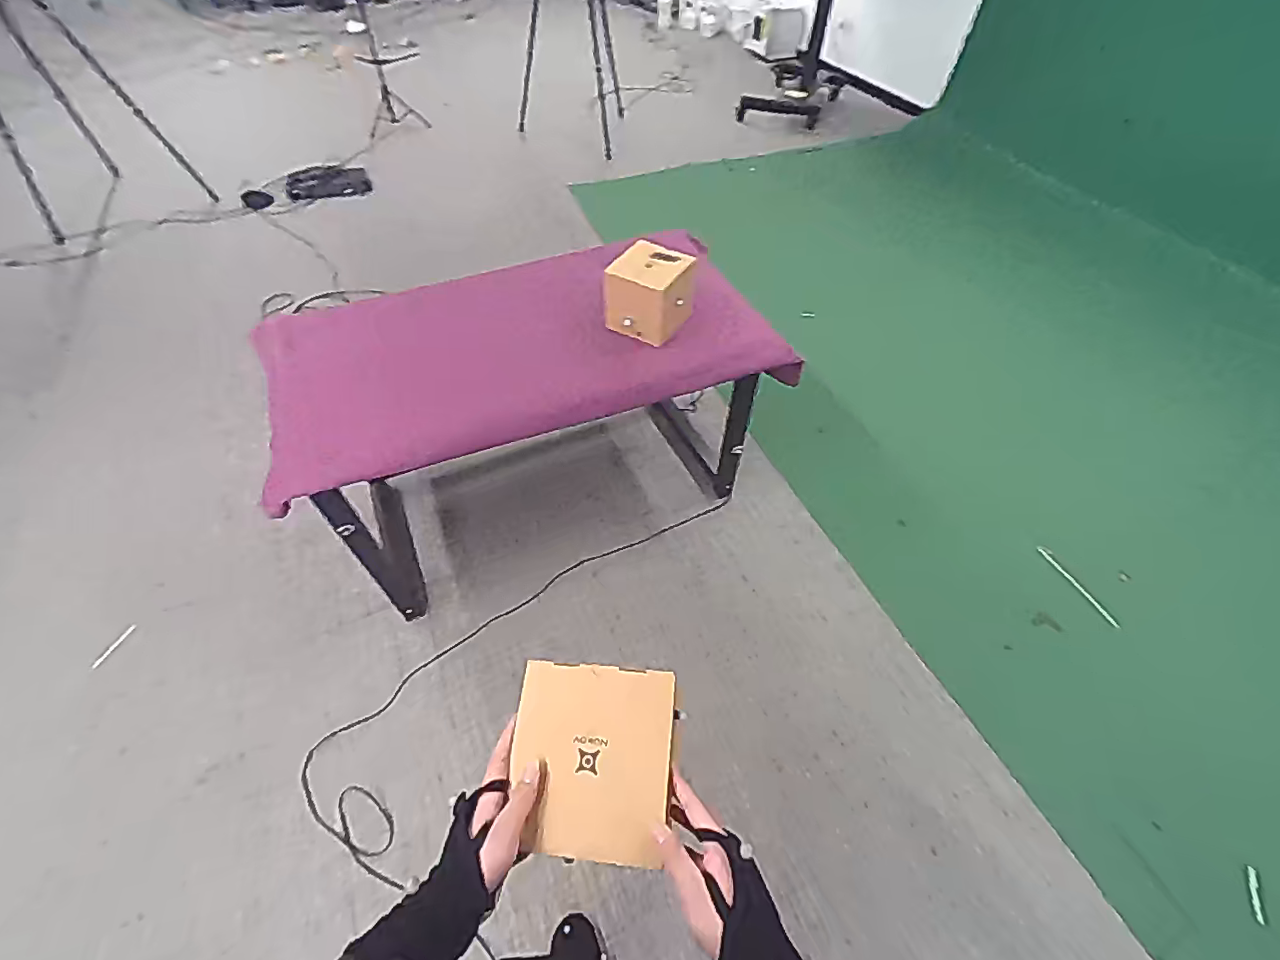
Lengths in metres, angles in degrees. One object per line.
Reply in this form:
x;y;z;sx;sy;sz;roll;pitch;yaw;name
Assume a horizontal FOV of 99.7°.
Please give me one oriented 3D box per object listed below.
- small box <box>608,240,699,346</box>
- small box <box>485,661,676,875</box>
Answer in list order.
0.031;-0.476;1.381;0.168;0.176;0.179;27;57;18;small box
-0.049;0.312;0.607;0.168;0.176;0.179;2;63;9;small box
